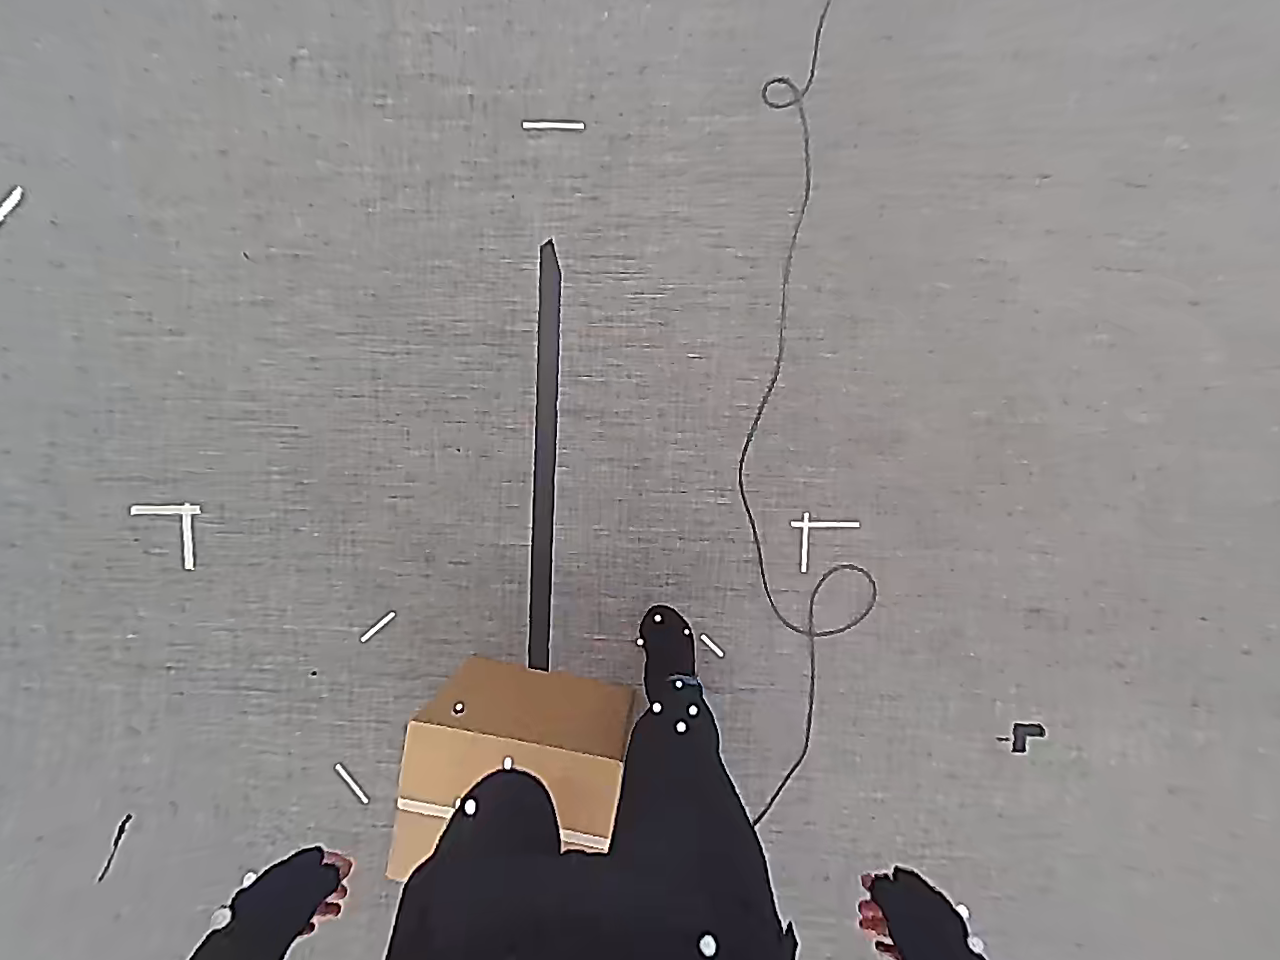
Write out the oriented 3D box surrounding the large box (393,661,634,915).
[{"bbox_3d":[-0.239,0.612,1.140,0.408,0.320,0.320,10,94,2],"label":"large box"}]
